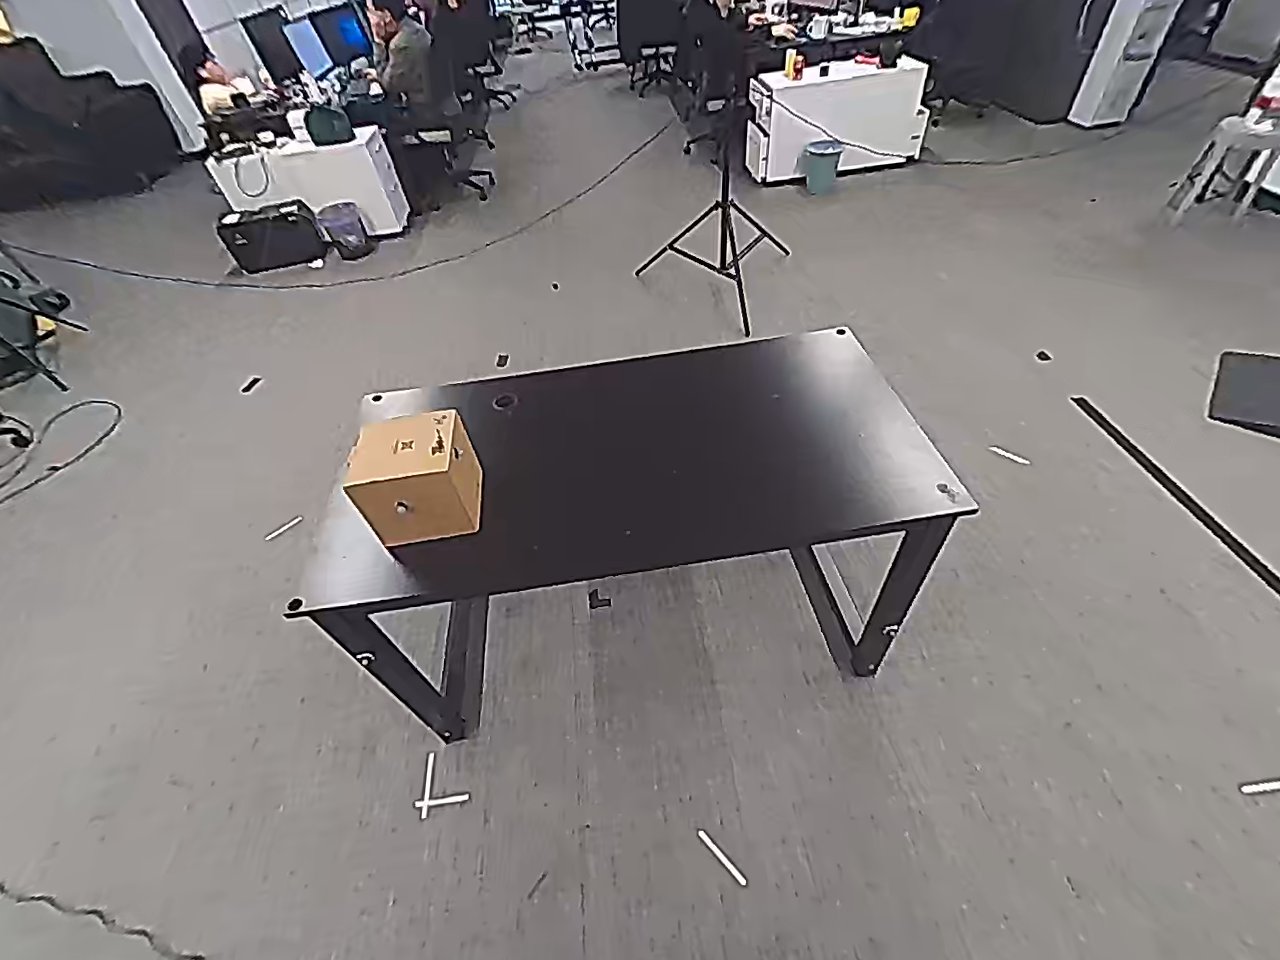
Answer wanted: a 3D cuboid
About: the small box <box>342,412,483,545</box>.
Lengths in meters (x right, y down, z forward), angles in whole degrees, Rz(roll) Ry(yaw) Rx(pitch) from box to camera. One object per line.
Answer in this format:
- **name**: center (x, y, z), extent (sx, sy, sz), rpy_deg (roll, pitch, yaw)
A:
- **small box**: center (-0.406, 0.002, 0.999), extent (0.179, 0.176, 0.168), rpy_deg (-10, 47, -2)
